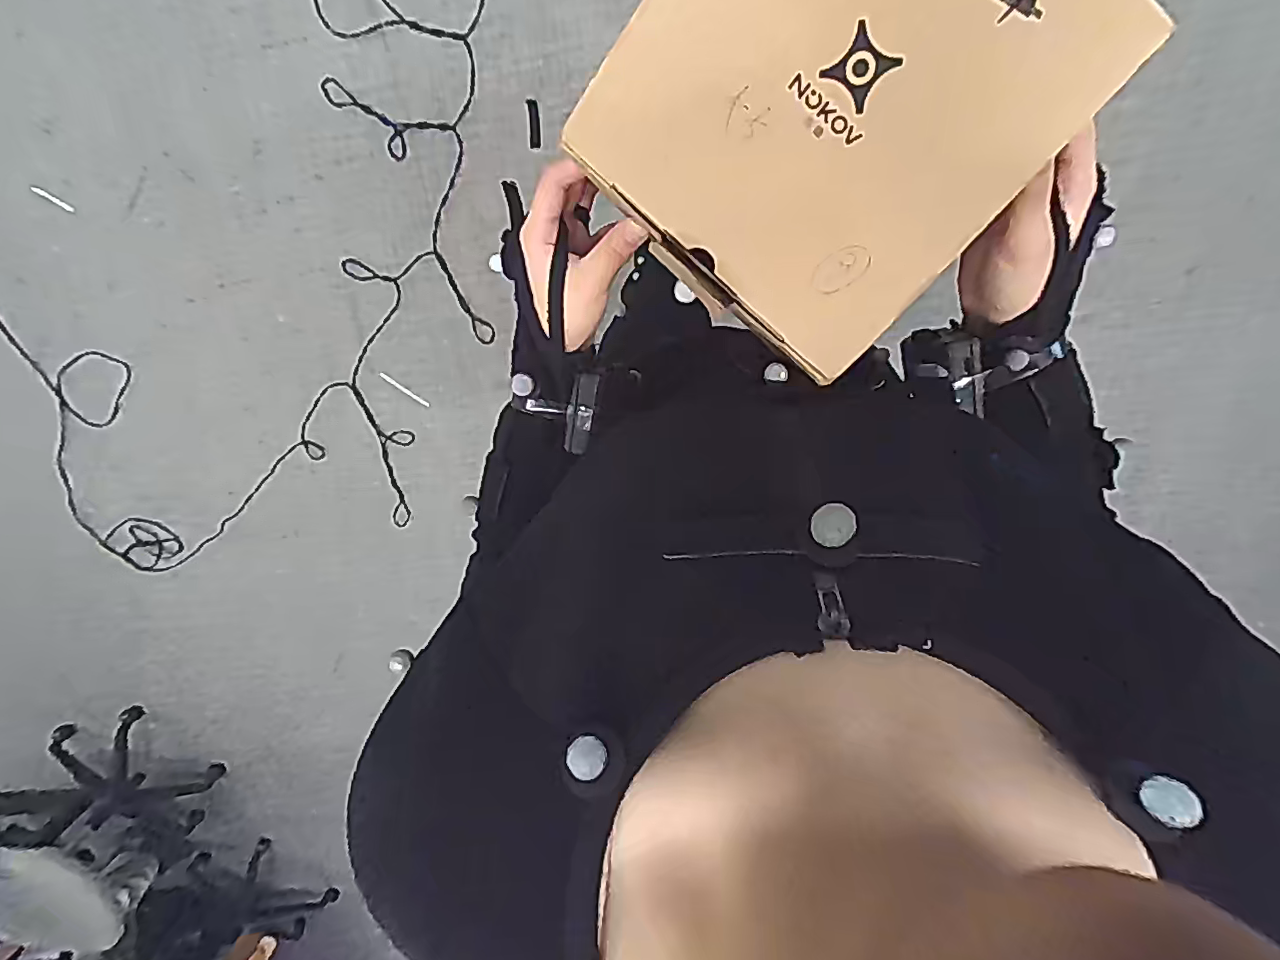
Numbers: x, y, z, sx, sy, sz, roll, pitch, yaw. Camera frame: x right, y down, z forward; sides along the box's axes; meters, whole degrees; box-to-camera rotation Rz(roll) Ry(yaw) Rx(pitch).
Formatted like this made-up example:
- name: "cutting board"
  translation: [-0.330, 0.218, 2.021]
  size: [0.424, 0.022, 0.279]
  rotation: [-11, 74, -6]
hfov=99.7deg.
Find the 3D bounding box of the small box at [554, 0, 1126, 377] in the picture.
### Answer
- name: "small box"
  translation: [0.085, -0.185, 0.302]
  size: [0.168, 0.176, 0.179]
  rotation: [39, 109, -6]
